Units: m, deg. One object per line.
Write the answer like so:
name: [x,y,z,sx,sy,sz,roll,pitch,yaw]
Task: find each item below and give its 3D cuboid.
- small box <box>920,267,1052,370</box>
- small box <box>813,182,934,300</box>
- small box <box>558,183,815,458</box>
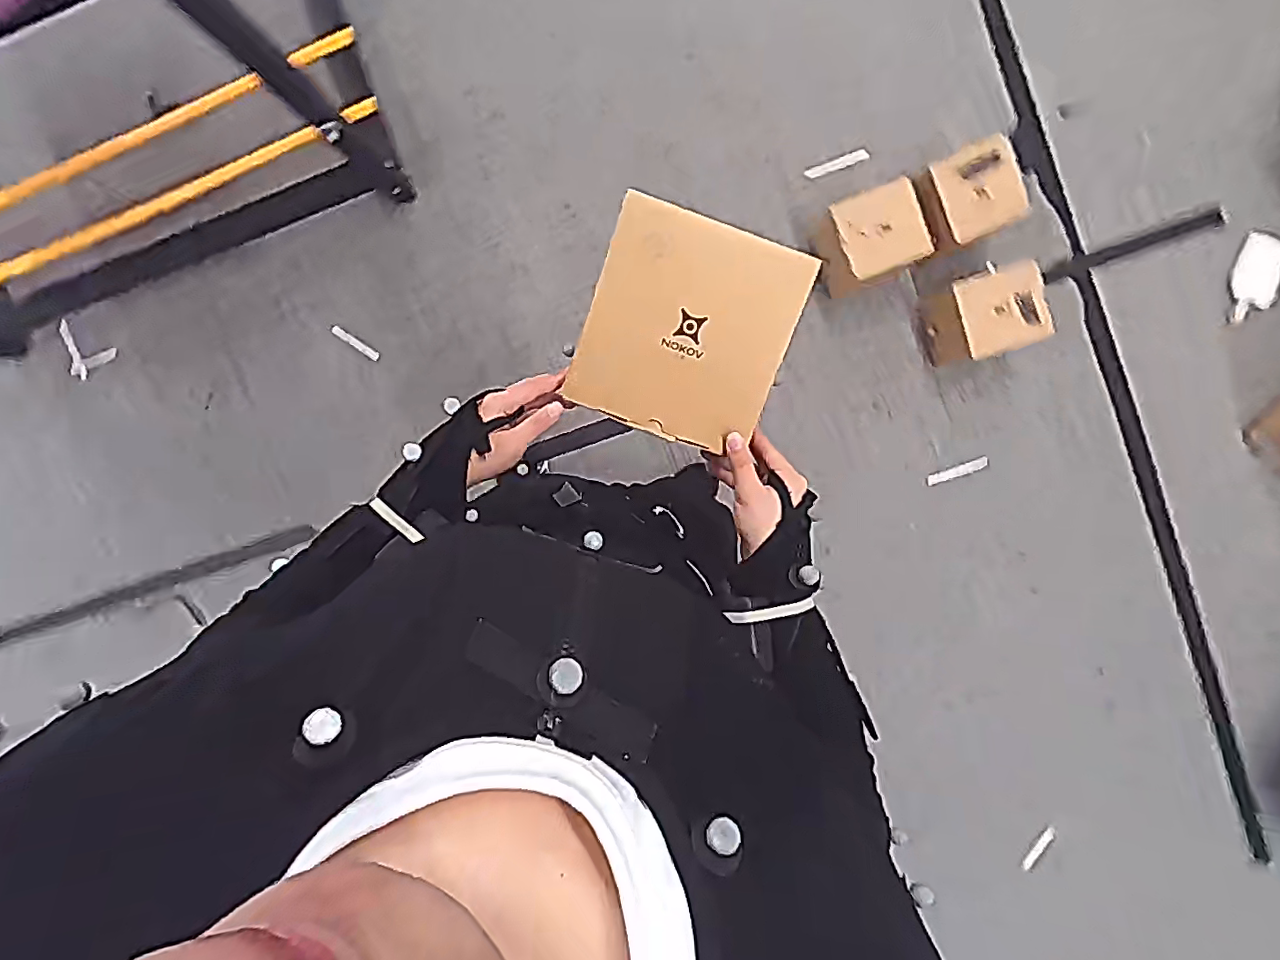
small box: [0.775,-0.358,1.227,0.179,0.176,0.168,-17,94,4]
small box: [0.518,-0.530,1.223,0.179,0.176,0.168,-20,93,4]
small box: [0.034,-0.140,0.511,0.168,0.176,0.179,18,103,-4]
